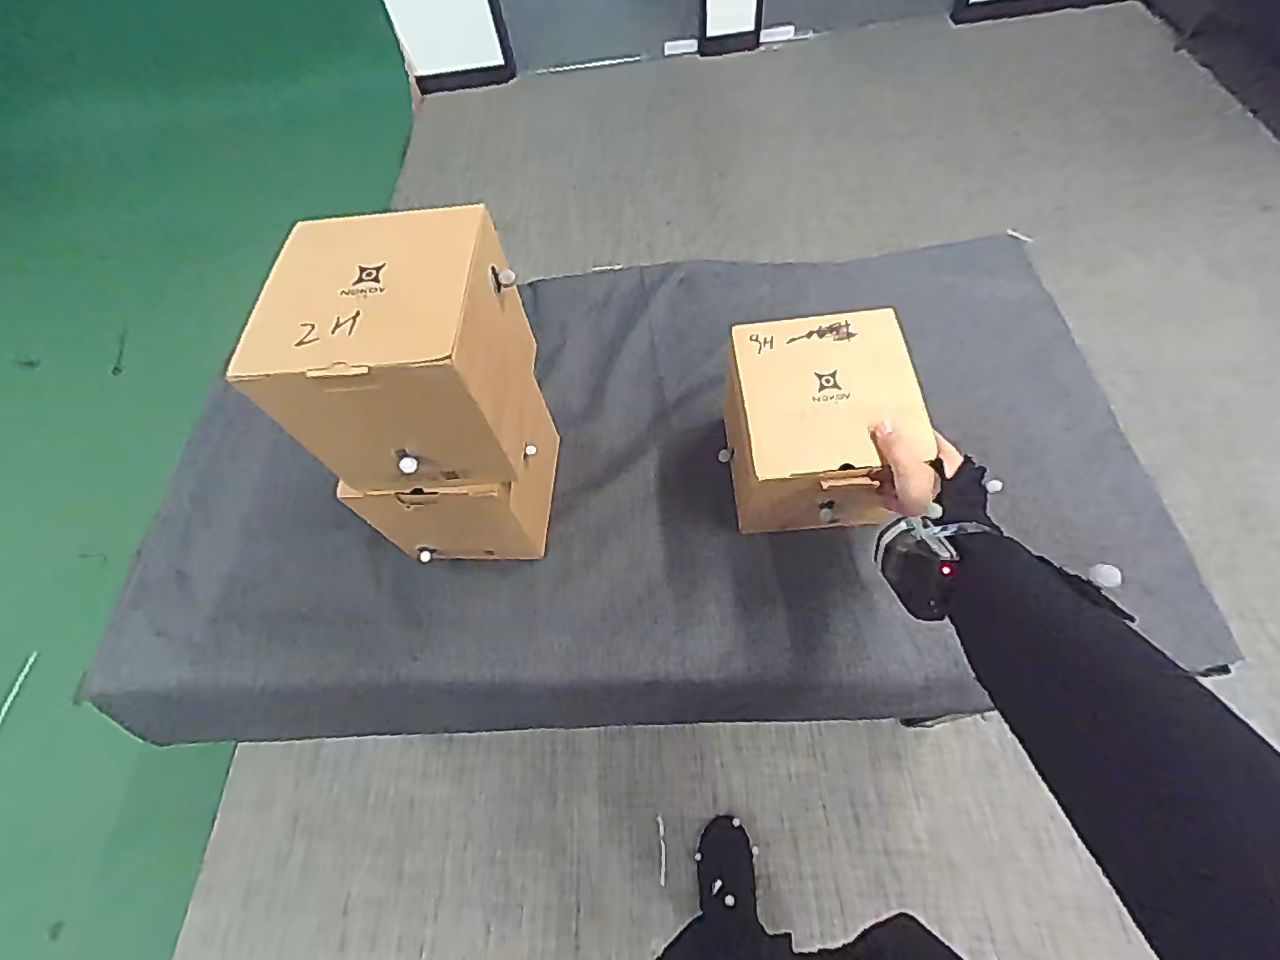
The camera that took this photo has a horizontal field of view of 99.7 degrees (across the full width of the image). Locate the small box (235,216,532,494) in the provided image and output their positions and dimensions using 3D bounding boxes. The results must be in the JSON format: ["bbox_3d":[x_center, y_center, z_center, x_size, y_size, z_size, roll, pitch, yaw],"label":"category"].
[{"bbox_3d":[-0.202,-0.105,0.490,0.168,0.176,0.179,-4,59,5],"label":"small box"}]

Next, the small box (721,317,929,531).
[{"bbox_3d":[0.183,-0.048,0.595,0.168,0.176,0.179,-5,66,3],"label":"small box"}]

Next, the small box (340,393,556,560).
[{"bbox_3d":[-0.202,-0.015,0.628,0.168,0.176,0.179,-1,59,6],"label":"small box"}]
